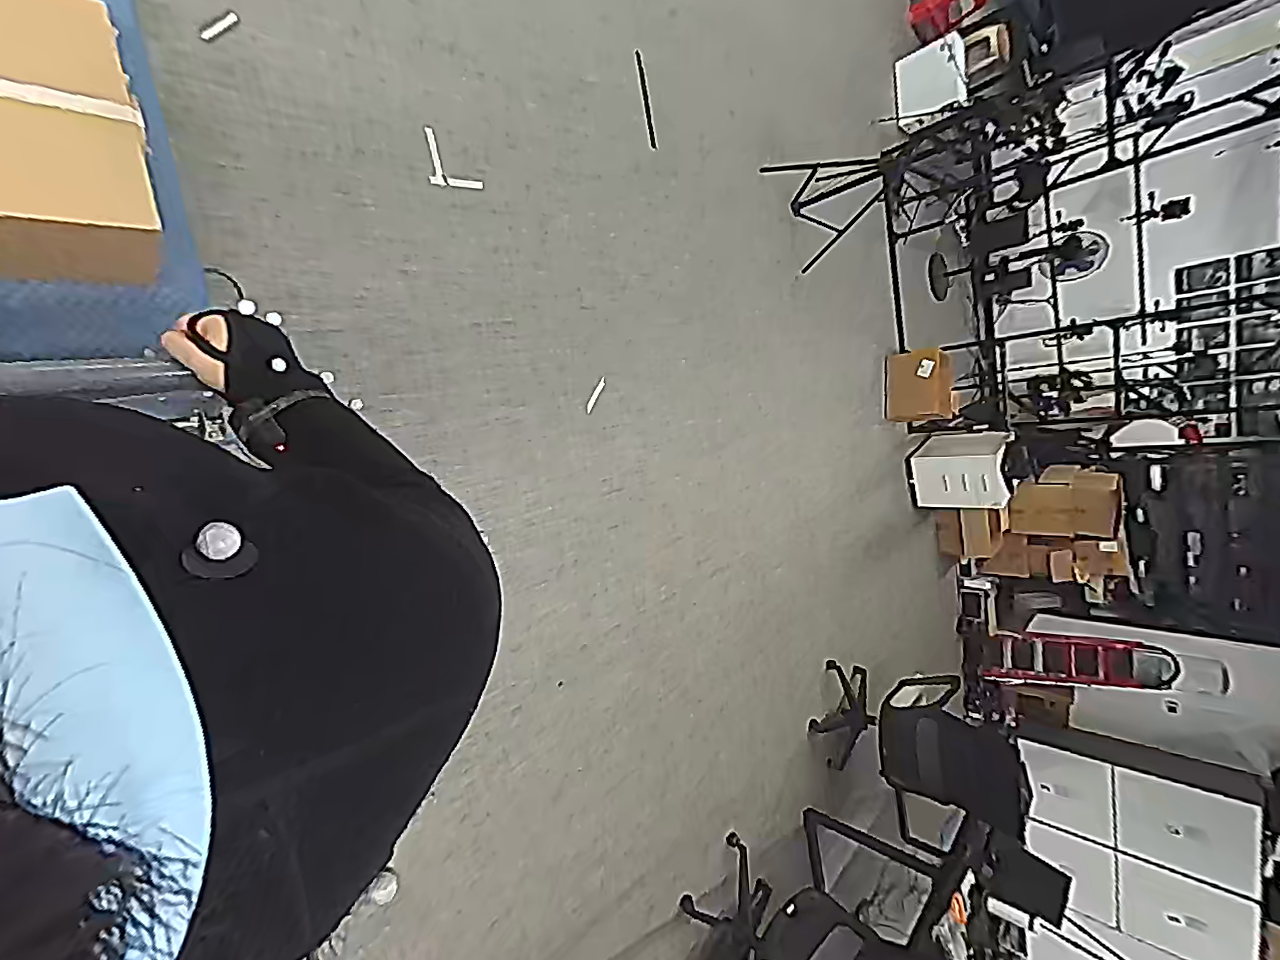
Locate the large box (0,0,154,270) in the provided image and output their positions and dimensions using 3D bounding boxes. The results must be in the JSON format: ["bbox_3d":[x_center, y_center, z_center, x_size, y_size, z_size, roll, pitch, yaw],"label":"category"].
[{"bbox_3d":[-0.988,-0.499,0.759,0.408,0.320,0.320,-15,100,-42],"label":"large box"}]
